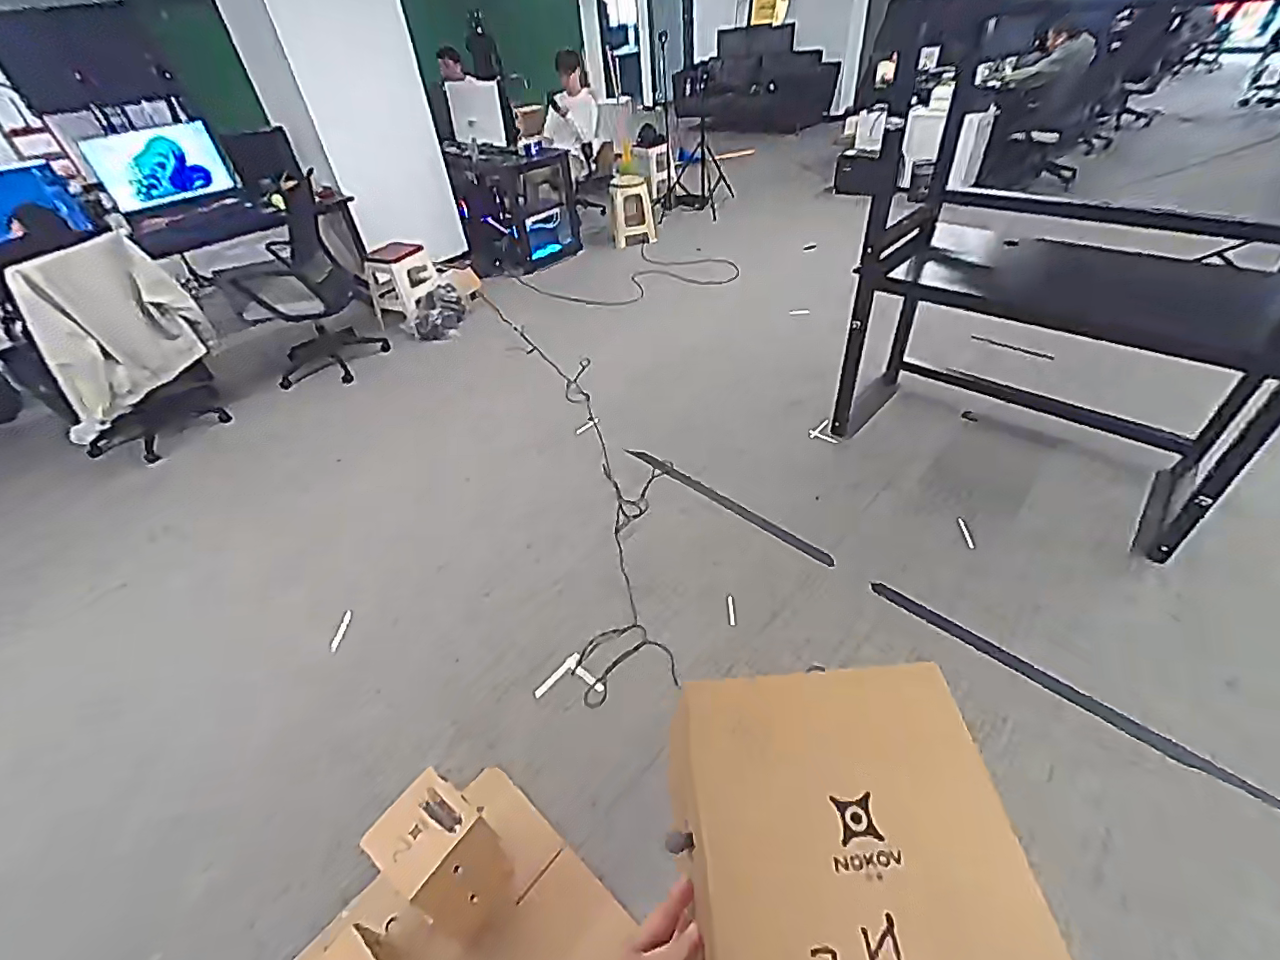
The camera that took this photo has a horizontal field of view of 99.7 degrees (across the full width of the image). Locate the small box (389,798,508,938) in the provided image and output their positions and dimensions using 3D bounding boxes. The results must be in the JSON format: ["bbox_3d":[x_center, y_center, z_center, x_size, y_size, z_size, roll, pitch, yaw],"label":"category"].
[{"bbox_3d":[-0.415,0.866,1.209,0.168,0.176,0.179,25,50,30],"label":"small box"}]

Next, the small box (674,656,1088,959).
[{"bbox_3d":[0.116,0.231,0.339,0.168,0.176,0.179,-4,51,-4],"label":"small box"}]

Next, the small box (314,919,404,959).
[{"bbox_3d":[-0.557,1.018,1.054,0.179,0.176,0.168,24,51,30],"label":"small box"}]
